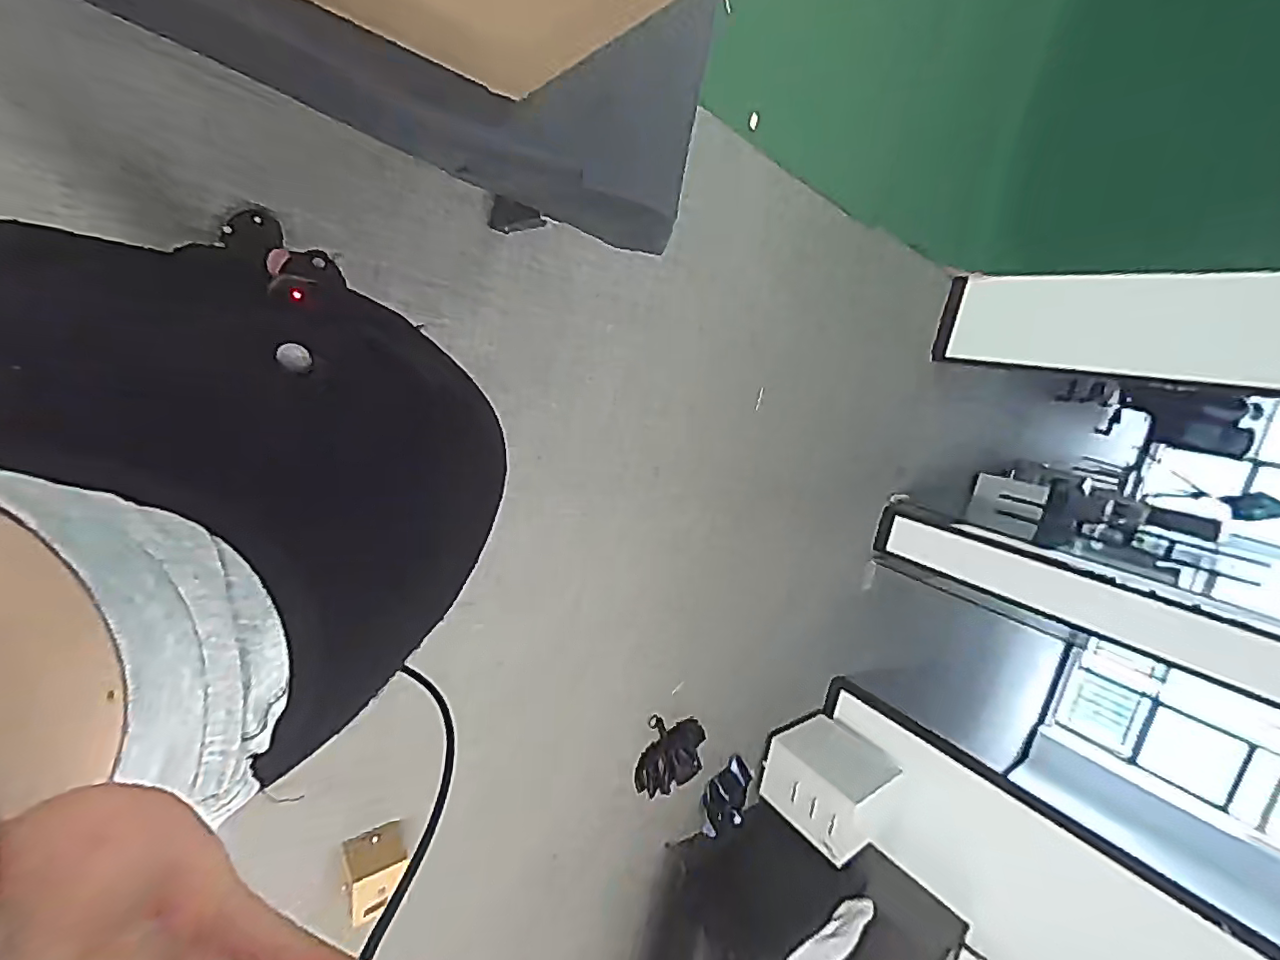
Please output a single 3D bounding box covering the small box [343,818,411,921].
[{"bbox_3d":[-0.855,1.256,1.754,0.168,0.176,0.179,-5,108,-39],"label":"small box"}]
